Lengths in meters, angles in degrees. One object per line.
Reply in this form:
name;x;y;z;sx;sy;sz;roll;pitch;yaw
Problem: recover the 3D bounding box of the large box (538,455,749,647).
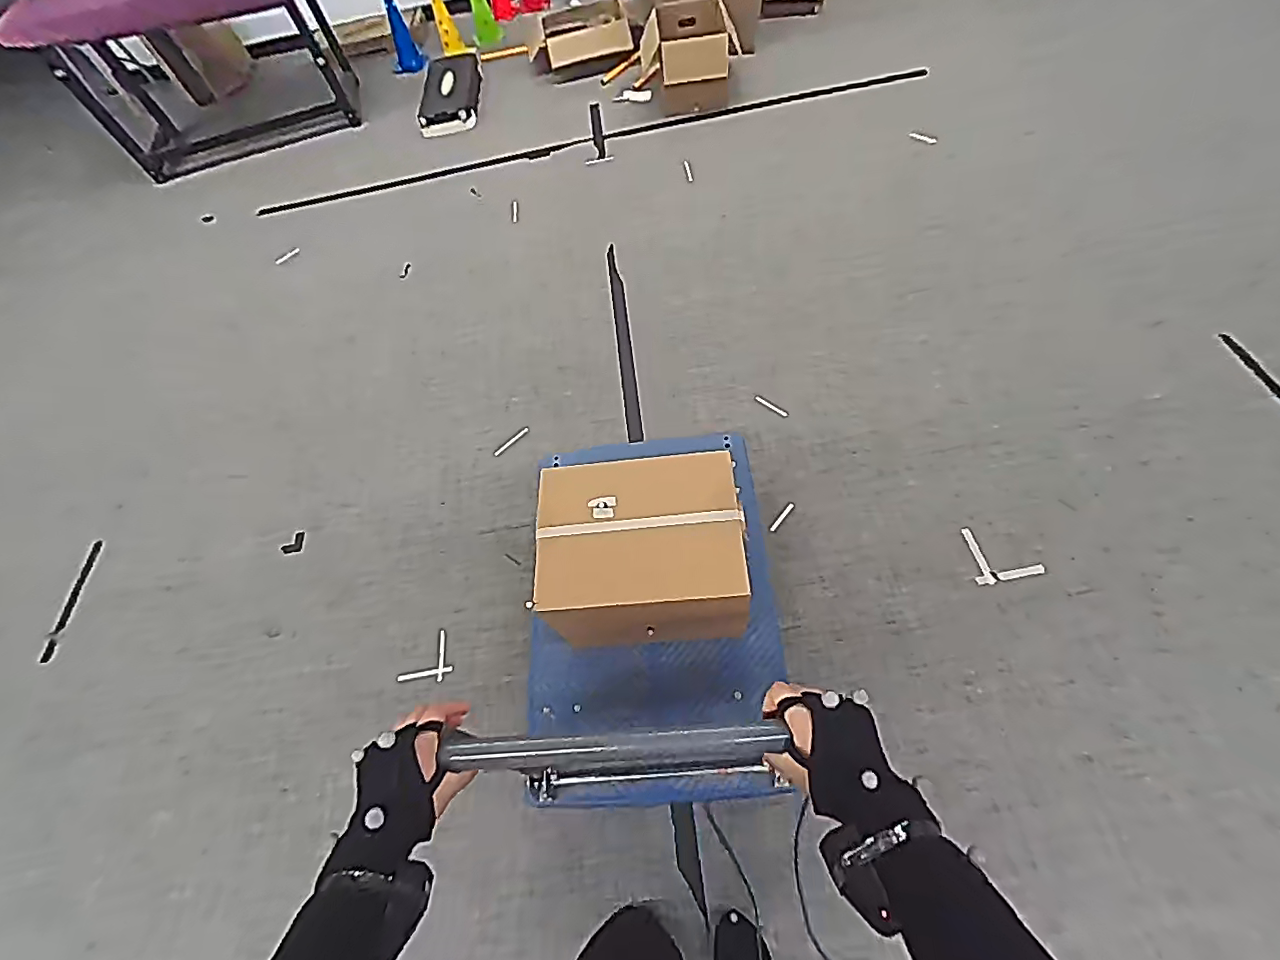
large box;0.017;0.173;1.209;0.408;0.320;0.320;-7;59;6
